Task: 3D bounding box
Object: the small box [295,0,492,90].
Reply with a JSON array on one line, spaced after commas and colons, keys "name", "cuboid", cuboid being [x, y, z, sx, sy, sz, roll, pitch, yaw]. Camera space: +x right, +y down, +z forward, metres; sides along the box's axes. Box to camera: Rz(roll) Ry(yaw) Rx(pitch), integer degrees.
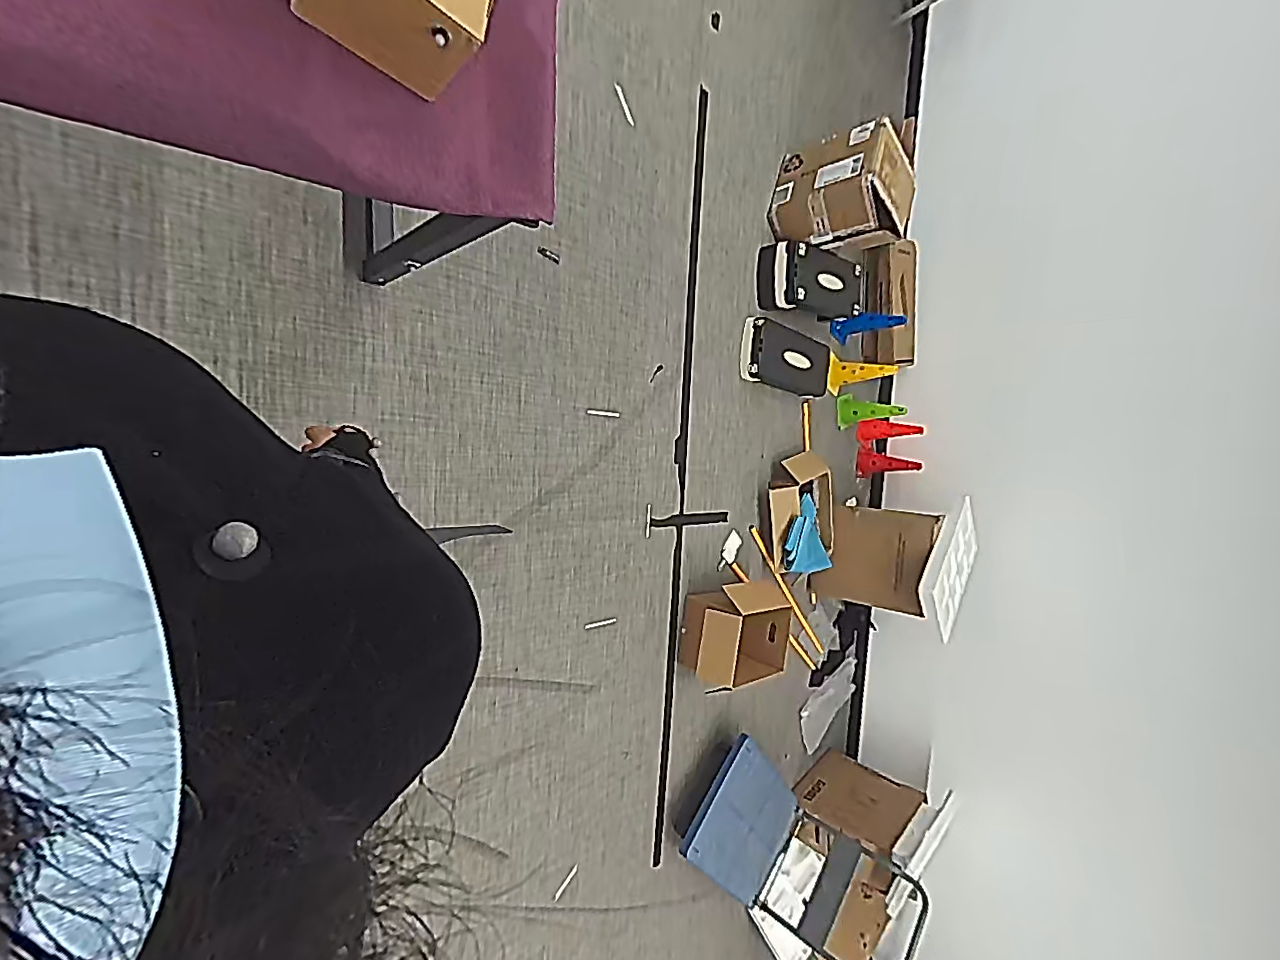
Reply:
[{"name": "small box", "cuboid": [-0.287, -0.618, 0.643, 0.179, 0.176, 0.168, 12, 87, -44]}]
